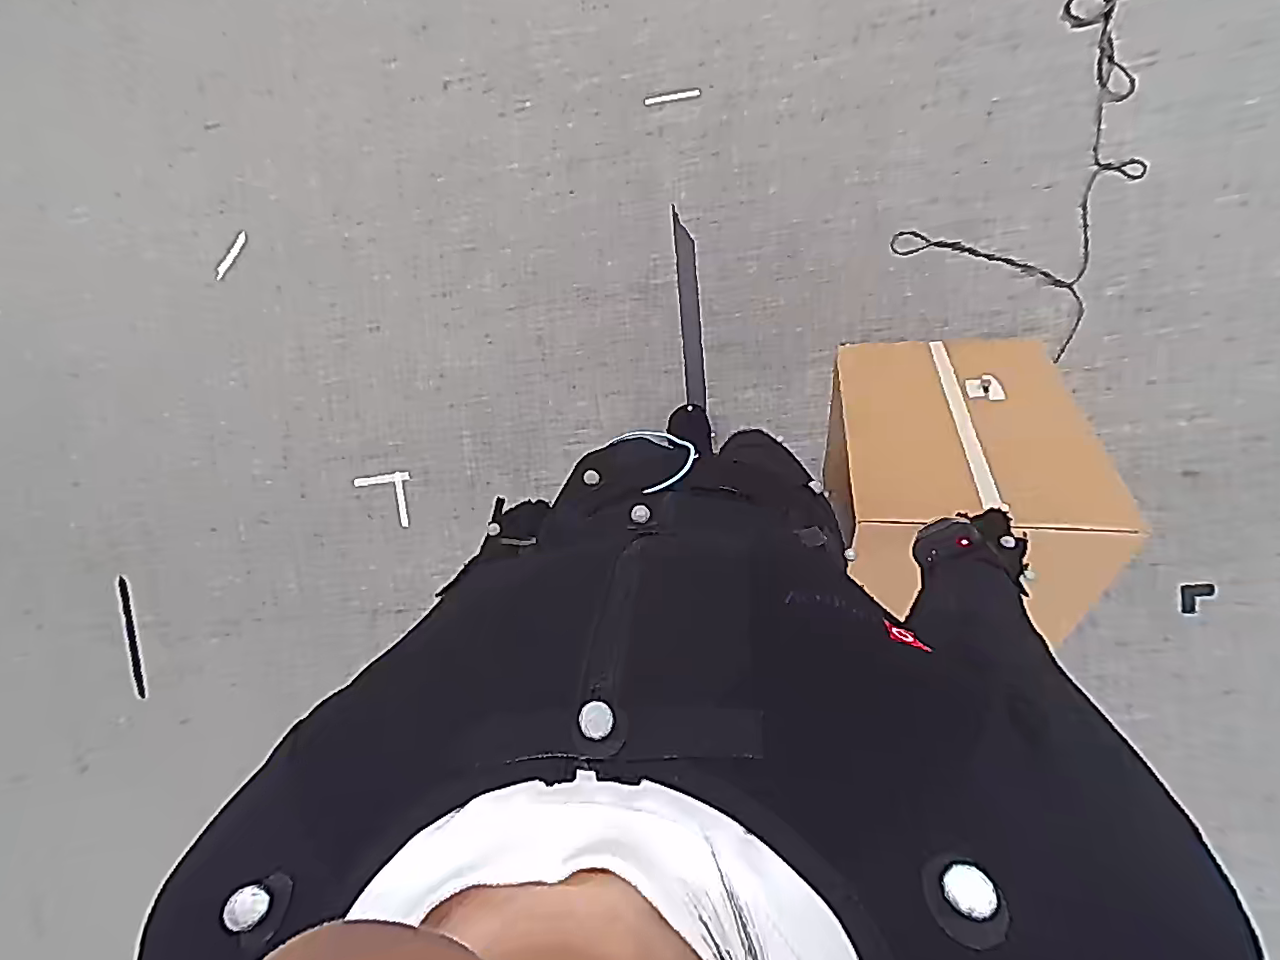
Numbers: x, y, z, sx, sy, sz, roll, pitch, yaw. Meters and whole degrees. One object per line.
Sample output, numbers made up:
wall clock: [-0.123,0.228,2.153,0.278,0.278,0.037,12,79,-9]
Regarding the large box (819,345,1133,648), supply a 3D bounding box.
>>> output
large box: [0.480,0.018,0.897,0.320,0.408,0.320,2,135,12]
